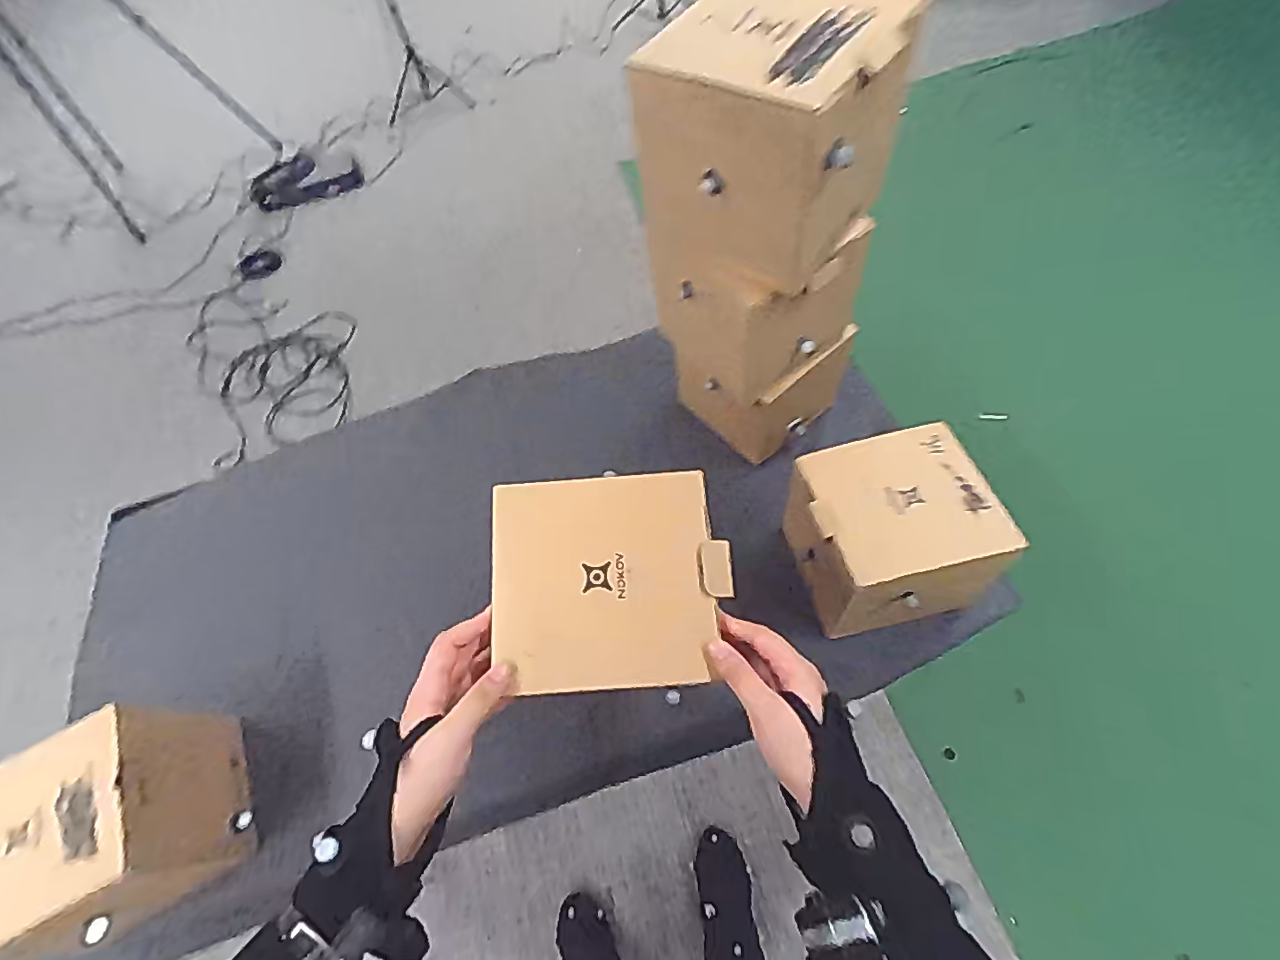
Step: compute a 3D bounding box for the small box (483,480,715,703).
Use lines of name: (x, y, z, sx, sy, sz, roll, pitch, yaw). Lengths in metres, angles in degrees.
small box: (-0.034, 0.110, 0.499, 0.179, 0.176, 0.168, -5, 71, -1)

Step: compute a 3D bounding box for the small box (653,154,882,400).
small box: (0.137, -0.226, 0.626, 0.168, 0.176, 0.179, -36, 63, -9)

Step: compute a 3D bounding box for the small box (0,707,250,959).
small box: (-0.554, 0.366, 0.573, 0.179, 0.176, 0.168, -28, 62, -8)

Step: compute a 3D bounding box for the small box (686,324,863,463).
small box: (0.176, -0.157, 0.770, 0.168, 0.176, 0.179, -38, 65, -11)

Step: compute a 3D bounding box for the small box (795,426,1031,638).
small box: (0.290, 0.068, 0.628, 0.179, 0.176, 0.168, -14, 57, 1)
